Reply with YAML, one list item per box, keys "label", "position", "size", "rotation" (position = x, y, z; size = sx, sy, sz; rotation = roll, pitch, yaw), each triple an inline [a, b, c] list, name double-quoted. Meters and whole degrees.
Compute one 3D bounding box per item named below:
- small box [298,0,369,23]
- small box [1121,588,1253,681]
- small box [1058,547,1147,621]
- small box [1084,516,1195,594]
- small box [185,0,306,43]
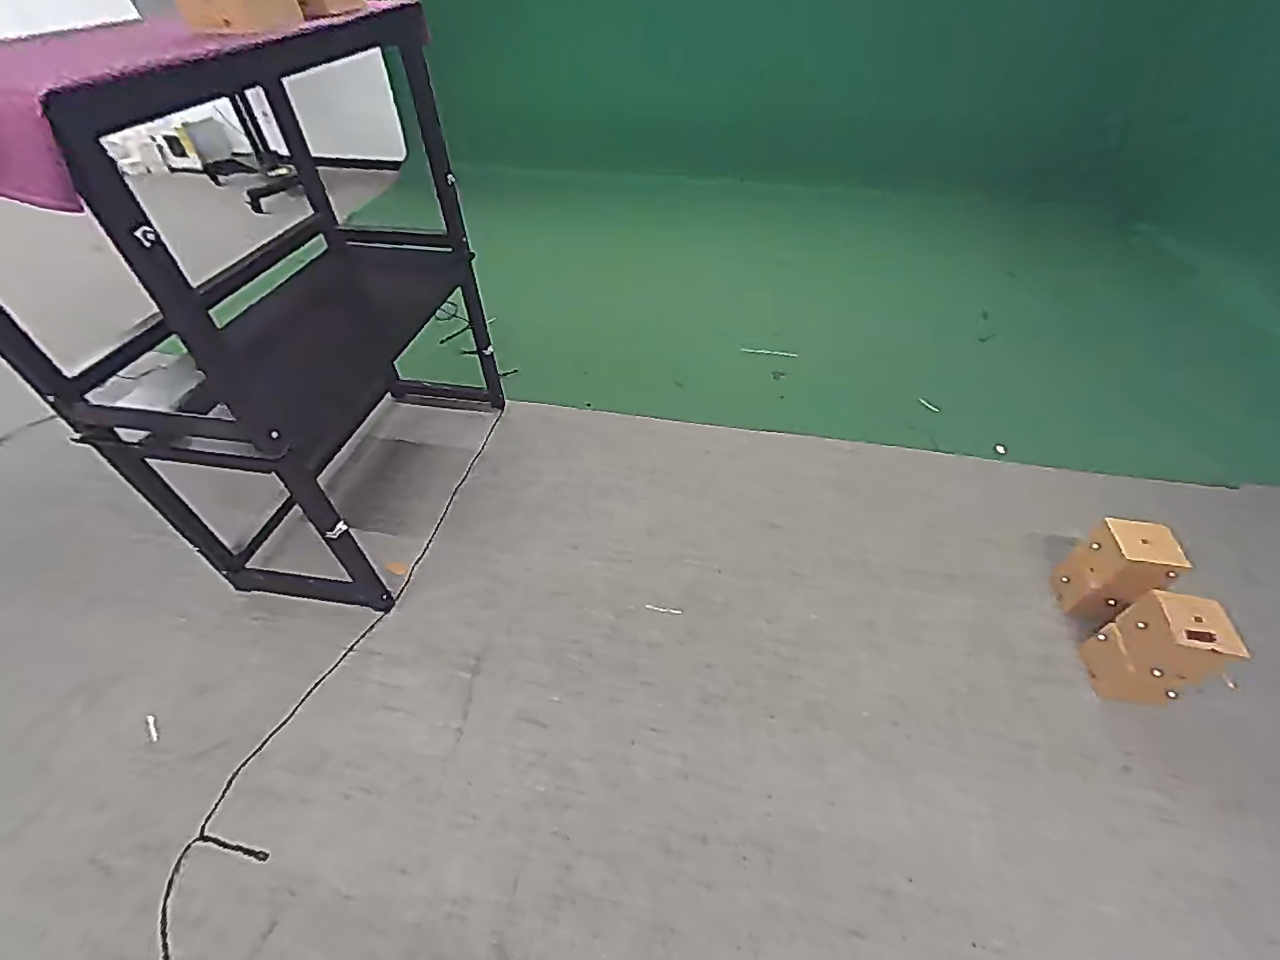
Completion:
- label: "small box"
  position: [-0.846, -1.309, 1.408]
  size: [0.168, 0.176, 0.179]
  rotation: [9, 48, 11]
- label: "small box"
  position: [1.493, 0.430, 1.492]
  size: [0.168, 0.176, 0.179]
  rotation: [11, 47, 10]
- label: "small box"
  position: [1.535, 0.347, 1.796]
  size: [0.179, 0.176, 0.168]
  rotation: [9, 48, 10]
- label: "small box"
  position: [1.532, 0.237, 1.678]
  size: [0.179, 0.176, 0.168]
  rotation: [8, 47, 8]
- label: "small box"
  position: [-0.887, -1.087, 1.196]
  size: [0.168, 0.176, 0.179]
  rotation: [8, 48, 9]
